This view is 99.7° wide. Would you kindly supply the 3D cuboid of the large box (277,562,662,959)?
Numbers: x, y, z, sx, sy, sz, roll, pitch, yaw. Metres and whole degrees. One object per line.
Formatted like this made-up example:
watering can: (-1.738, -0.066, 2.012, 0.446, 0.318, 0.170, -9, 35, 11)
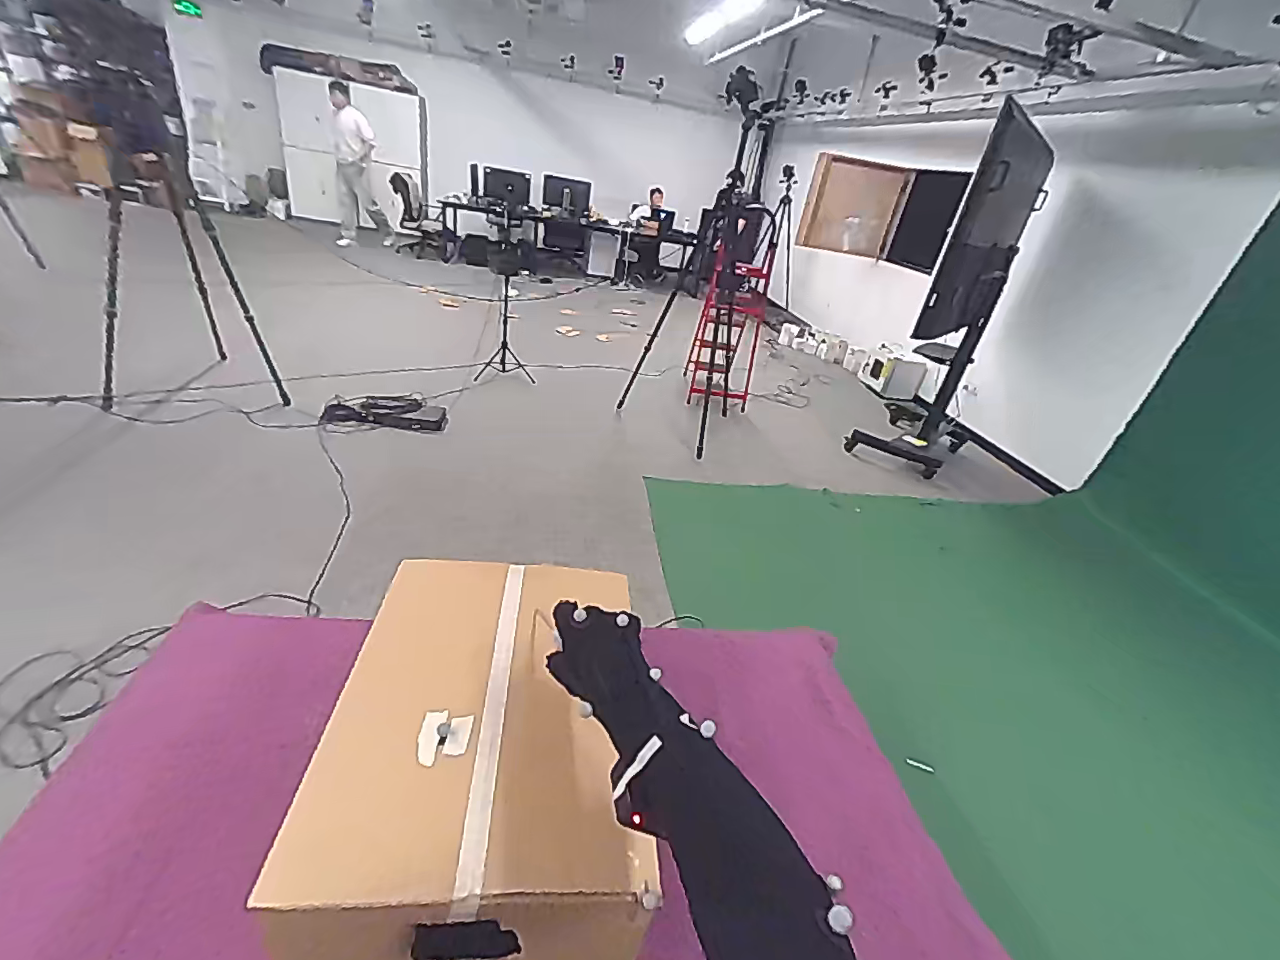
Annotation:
large box: (-0.178, 0.358, 0.676, 0.320, 0.320, 0.408, 6, 30, -9)
